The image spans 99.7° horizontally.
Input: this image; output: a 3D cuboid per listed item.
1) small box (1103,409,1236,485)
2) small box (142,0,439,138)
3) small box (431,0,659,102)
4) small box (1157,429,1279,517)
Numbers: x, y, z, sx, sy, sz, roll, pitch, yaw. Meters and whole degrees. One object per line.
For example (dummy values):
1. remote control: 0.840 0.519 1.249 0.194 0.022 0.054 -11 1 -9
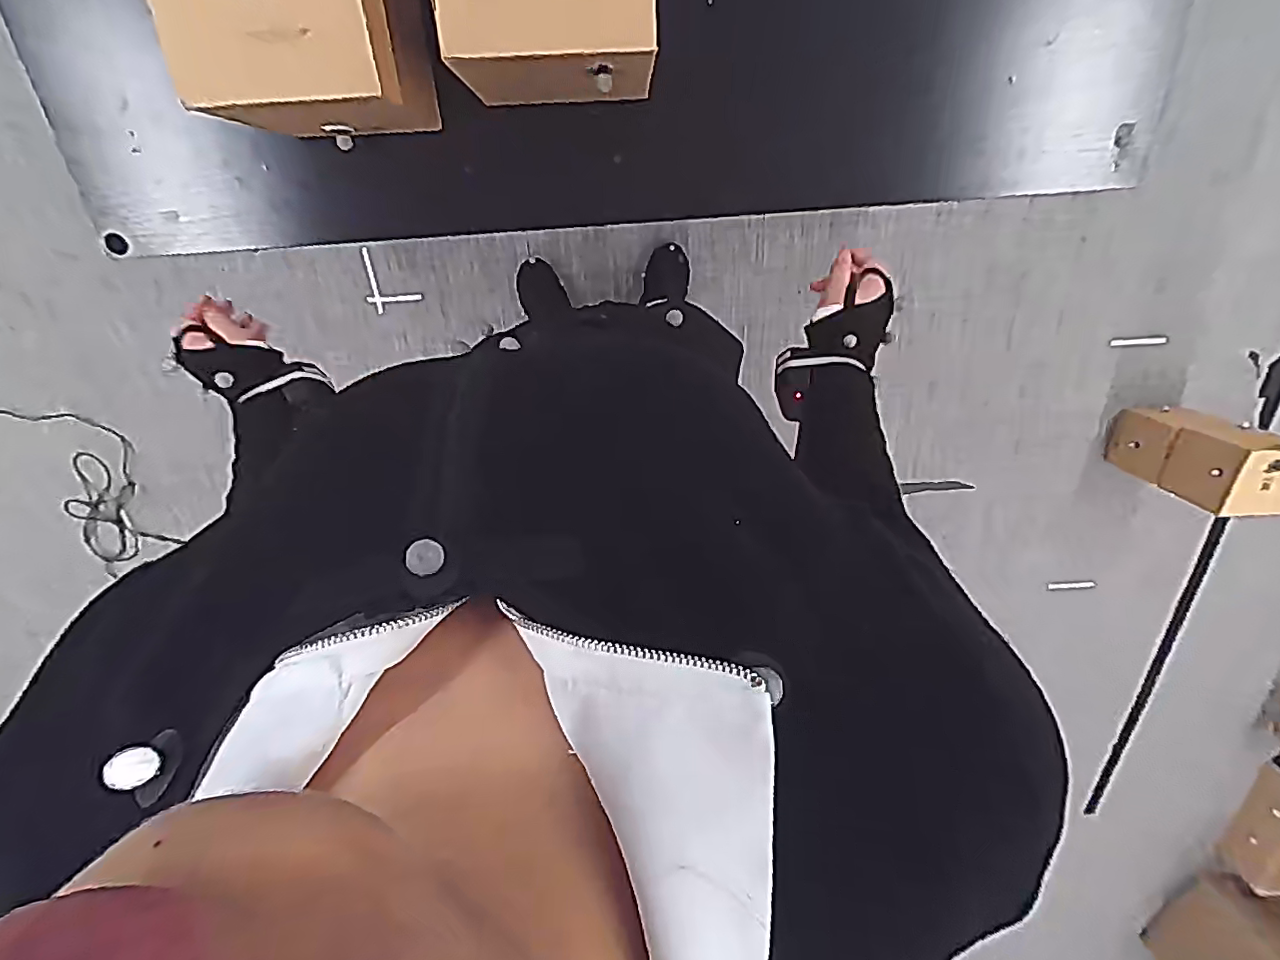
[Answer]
1. small box: 1.445 -0.095 1.492 0.179 0.176 0.168 -1 115 -1
2. small box: -0.296 -0.417 0.472 0.168 0.176 0.179 -4 115 0
3. small box: -0.078 -0.444 0.466 0.179 0.176 0.168 -2 114 -1
4. small box: 1.458 -0.024 1.342 0.168 0.176 0.179 -2 115 -2
